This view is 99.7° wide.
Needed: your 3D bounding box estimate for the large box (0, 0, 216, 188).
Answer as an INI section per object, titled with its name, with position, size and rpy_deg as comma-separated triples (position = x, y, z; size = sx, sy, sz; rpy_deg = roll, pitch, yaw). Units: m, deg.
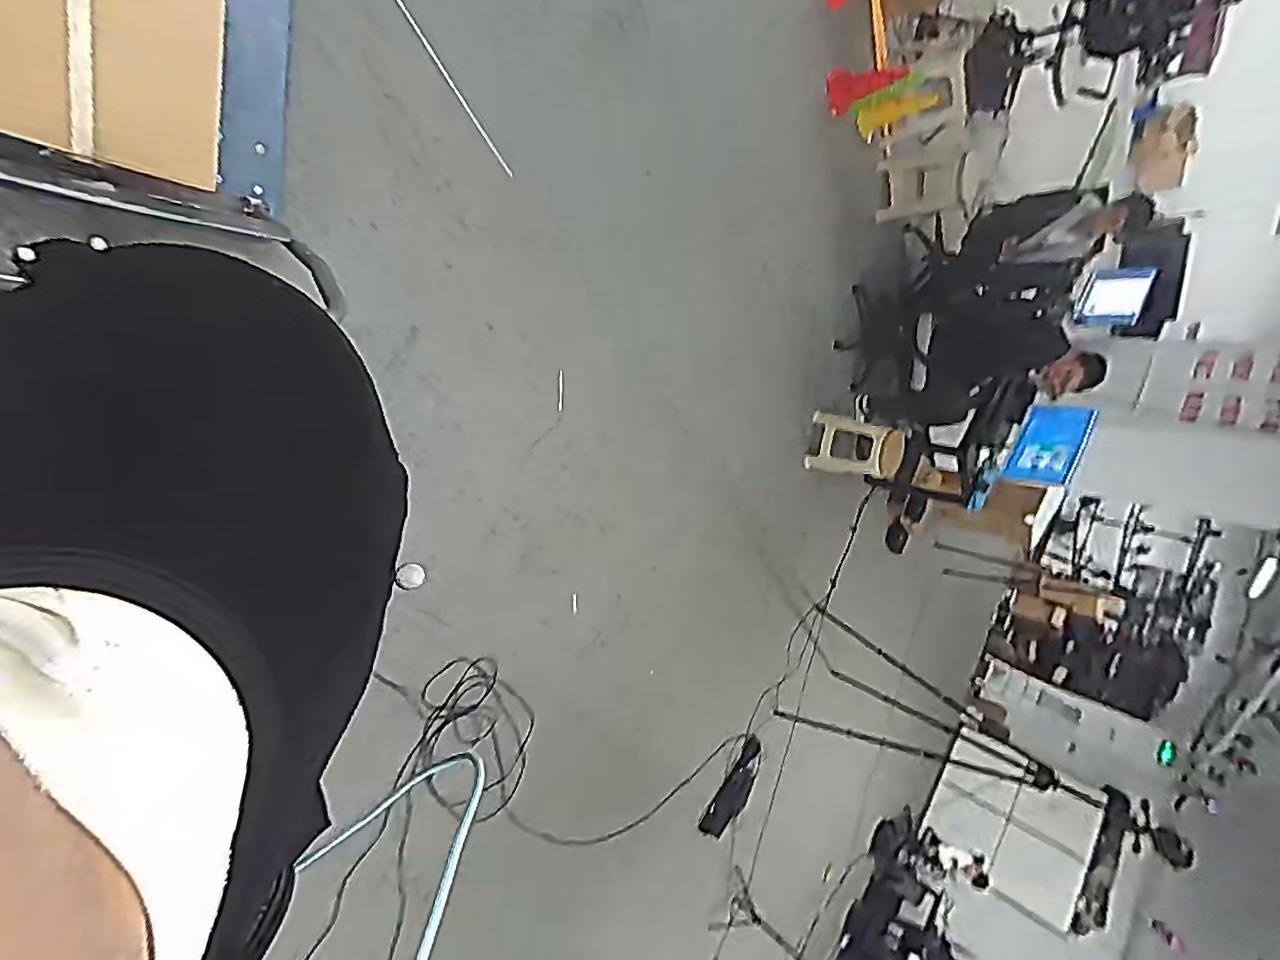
[large box]
position = -0.861, -0.714, 0.817
size = 0.320, 0.320, 0.408
rpy_deg = -1, 115, -46
